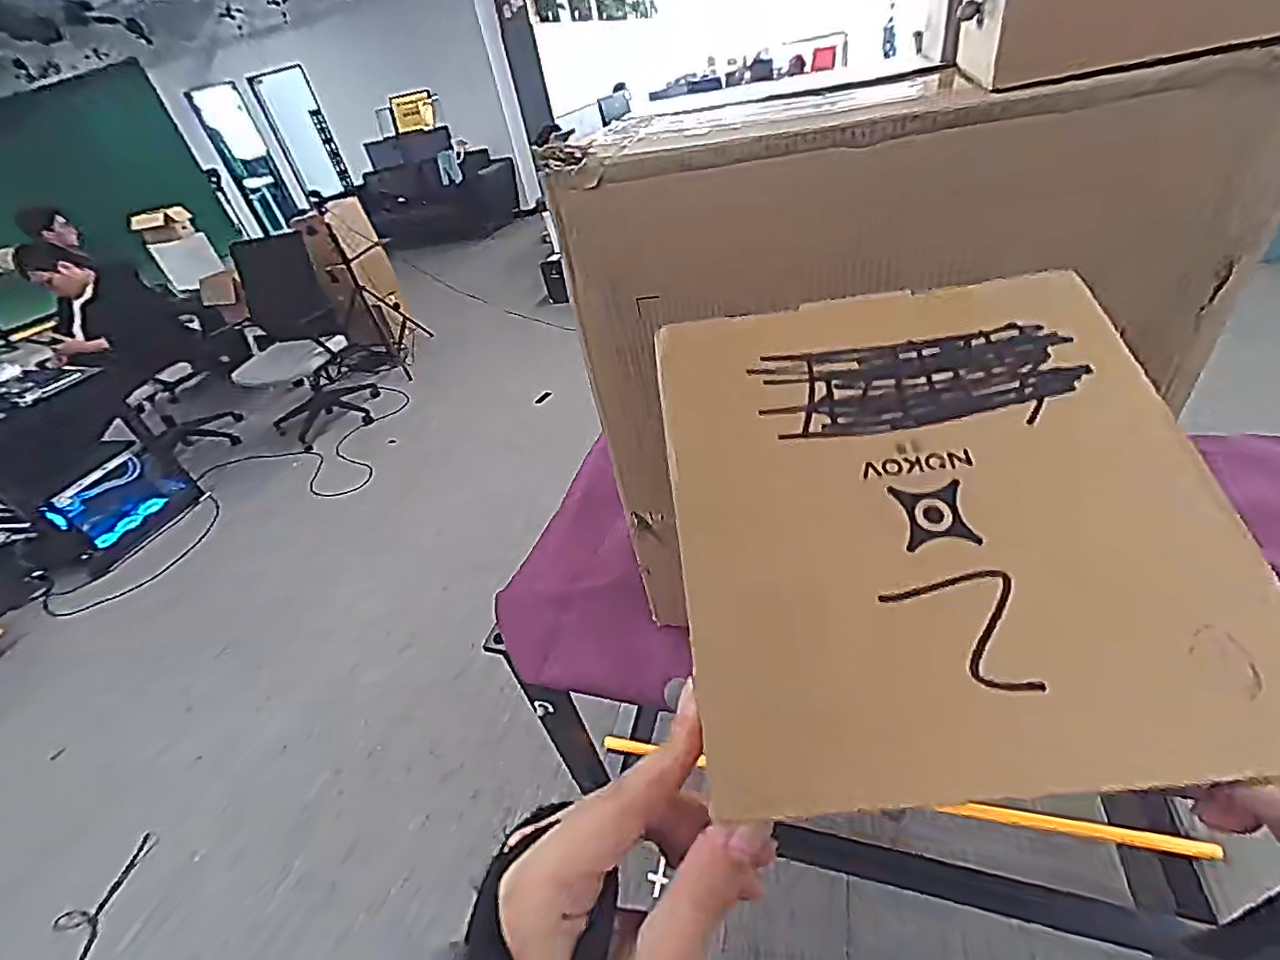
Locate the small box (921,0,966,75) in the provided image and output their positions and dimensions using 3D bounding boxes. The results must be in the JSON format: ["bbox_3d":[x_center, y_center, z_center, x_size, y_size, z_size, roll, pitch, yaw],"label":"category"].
[{"bbox_3d":[0.368,-0.496,0.503,0.168,0.176,0.179,2,40,20],"label":"small box"}]

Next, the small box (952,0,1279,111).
[{"bbox_3d":[0.315,-0.361,0.345,0.168,0.176,0.179,2,39,20],"label":"small box"}]
